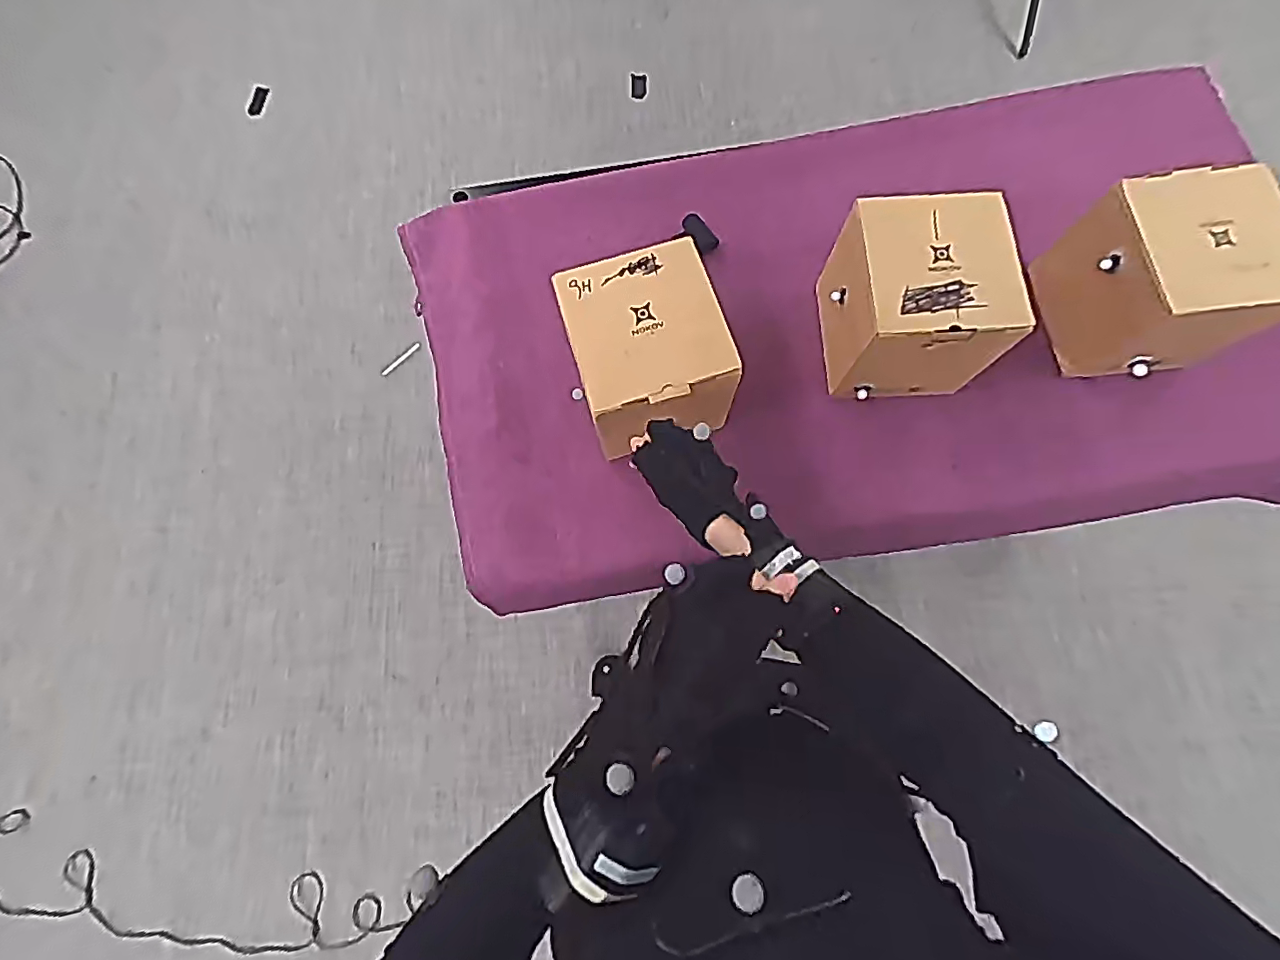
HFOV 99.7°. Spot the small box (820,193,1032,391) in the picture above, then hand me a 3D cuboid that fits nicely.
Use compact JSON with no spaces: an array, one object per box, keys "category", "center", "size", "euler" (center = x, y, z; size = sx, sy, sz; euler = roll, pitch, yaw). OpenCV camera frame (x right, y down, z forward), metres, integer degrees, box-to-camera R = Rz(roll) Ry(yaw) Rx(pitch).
[{"category":"small box","center":[0.333,-0.218,0.668],"size":[0.168,0.176,0.179],"euler":[-1,74,1]}]

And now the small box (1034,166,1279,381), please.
[{"category":"small box","center":[0.635,-0.243,0.666],"size":[0.168,0.176,0.179],"euler":[-6,75,2]}]

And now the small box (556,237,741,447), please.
[{"category":"small box","center":[0.010,-0.152,0.661],"size":[0.168,0.176,0.179],"euler":[-16,76,-3]}]
